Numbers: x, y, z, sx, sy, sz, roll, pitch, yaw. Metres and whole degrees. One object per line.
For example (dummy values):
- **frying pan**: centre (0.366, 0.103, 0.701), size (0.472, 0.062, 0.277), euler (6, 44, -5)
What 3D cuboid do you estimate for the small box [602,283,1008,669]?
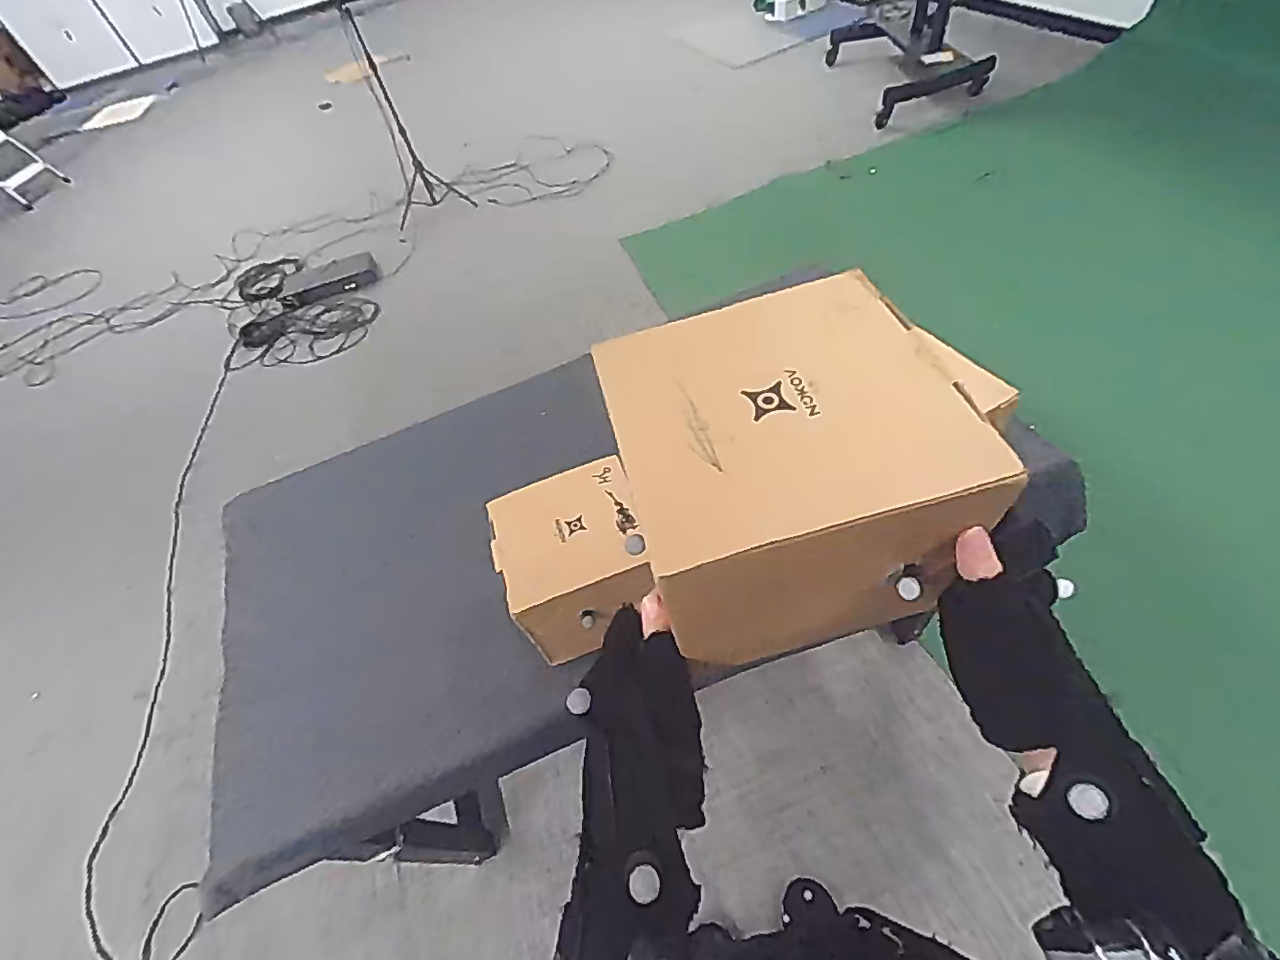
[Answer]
- **small box**: centre (0.089, 0.006, 0.365), size (0.179, 0.176, 0.168), euler (-17, 52, 1)

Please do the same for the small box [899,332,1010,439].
- **small box**: centre (0.353, -0.066, 0.752), size (0.168, 0.176, 0.179), euler (-27, 52, -9)

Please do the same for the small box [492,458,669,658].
- **small box**: centre (-0.069, 0.107, 0.705), size (0.179, 0.176, 0.168), euler (-21, 52, -5)
